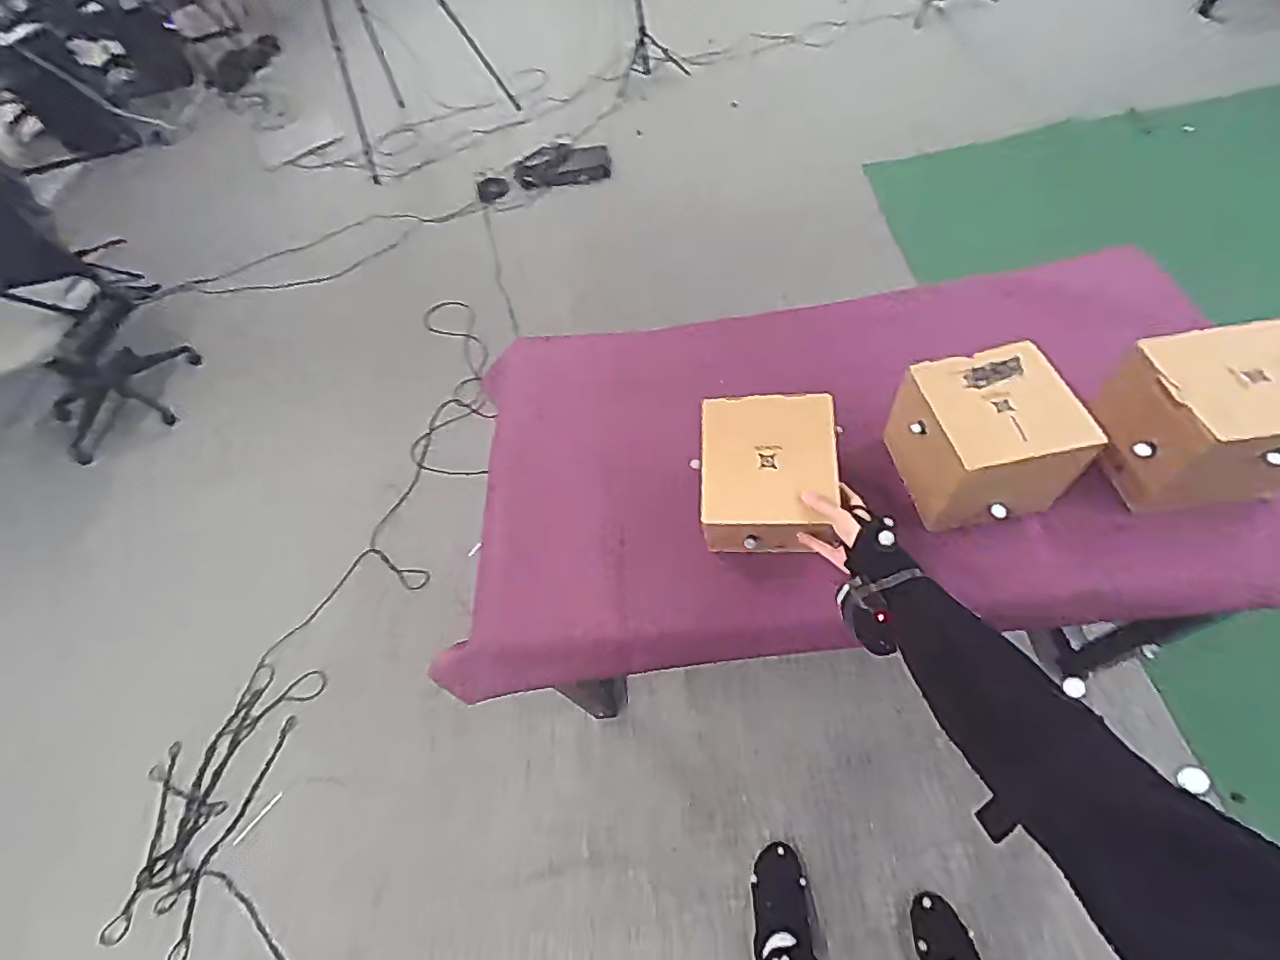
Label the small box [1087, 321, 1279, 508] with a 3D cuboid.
[{"bbox_3d":[0.731,-0.077,0.703,0.179,0.176,0.168,-7,56,7],"label":"small box"}]

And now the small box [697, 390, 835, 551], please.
[{"bbox_3d":[0.171,-0.004,0.750,0.168,0.176,0.179,-1,67,11],"label":"small box"}]

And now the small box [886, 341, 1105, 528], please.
[{"bbox_3d":[0.462,-0.058,0.743,0.168,0.176,0.179,-11,57,4],"label":"small box"}]
